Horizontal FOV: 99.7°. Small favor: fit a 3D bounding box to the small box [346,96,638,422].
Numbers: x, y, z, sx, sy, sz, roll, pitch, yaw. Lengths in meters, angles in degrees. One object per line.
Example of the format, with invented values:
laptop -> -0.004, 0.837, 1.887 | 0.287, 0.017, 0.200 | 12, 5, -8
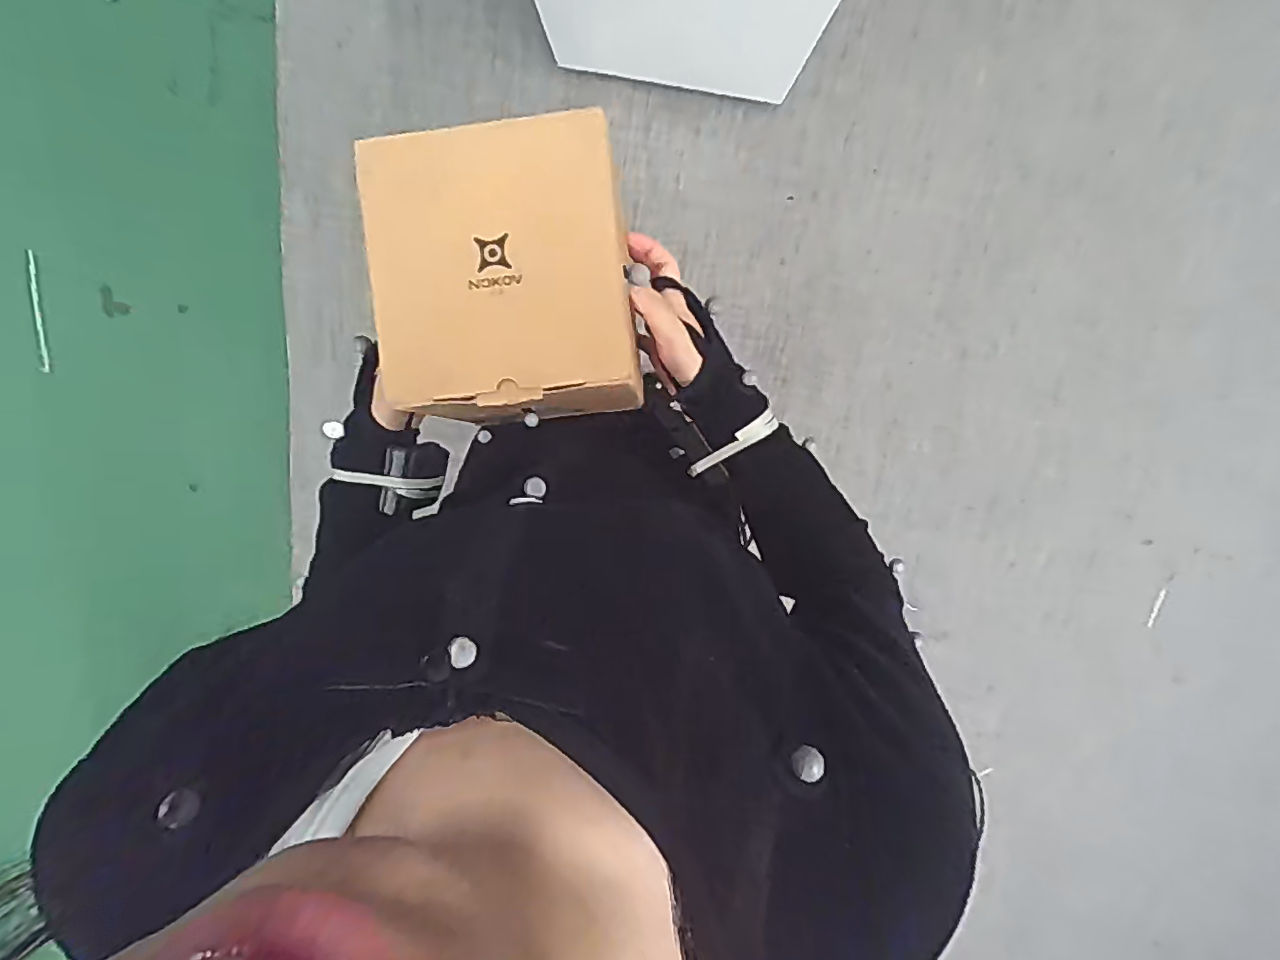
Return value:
small box -> -0.093, -0.145, 0.417 | 0.168, 0.176, 0.179 | -6, 91, 3
